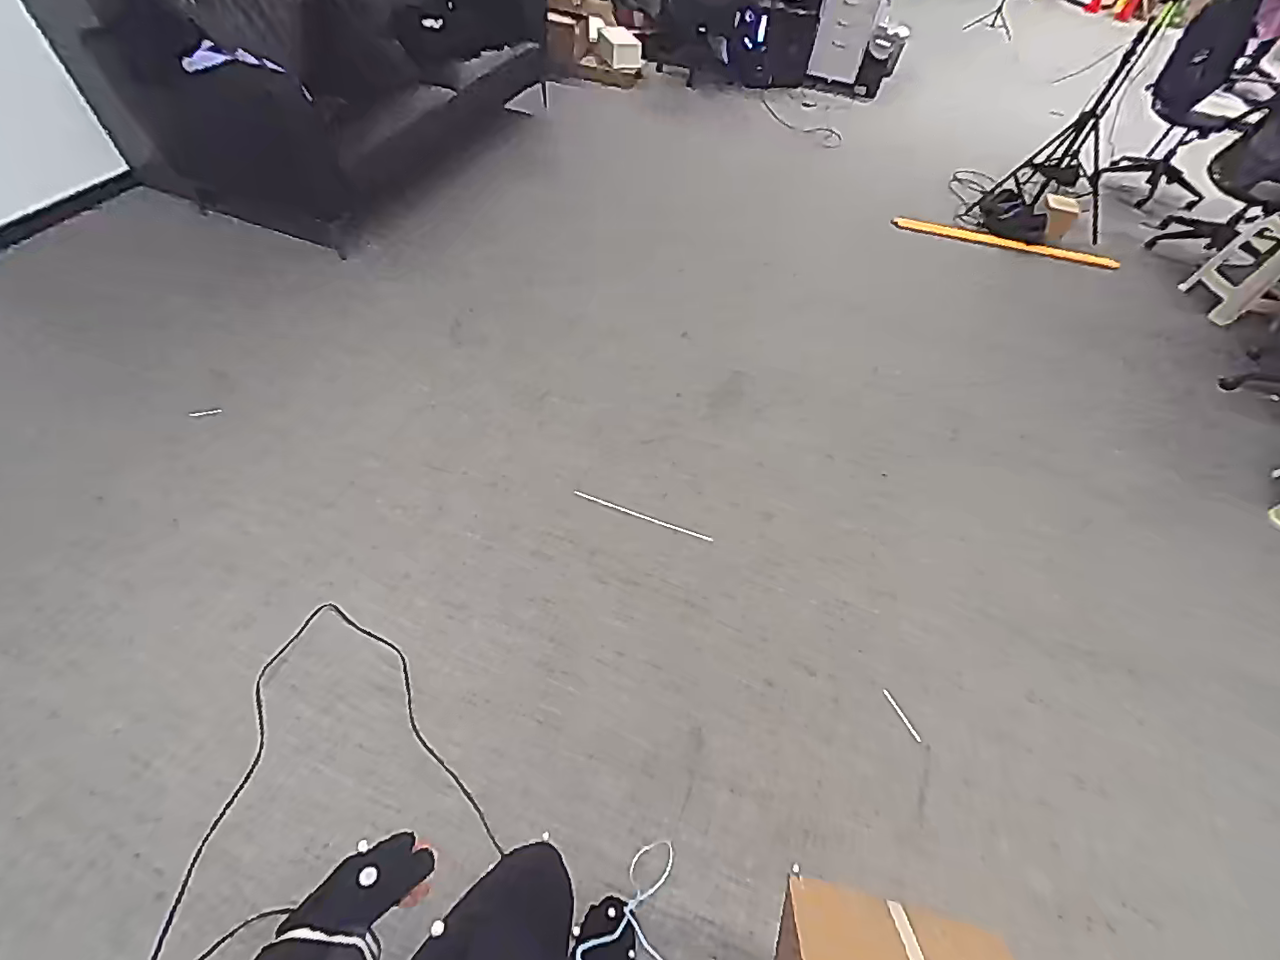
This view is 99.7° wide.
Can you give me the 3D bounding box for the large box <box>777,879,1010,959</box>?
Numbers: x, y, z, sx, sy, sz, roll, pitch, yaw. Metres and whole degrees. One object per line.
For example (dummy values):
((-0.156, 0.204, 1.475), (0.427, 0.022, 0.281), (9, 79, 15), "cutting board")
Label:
((0.334, 0.803, 0.644), (0.320, 0.408, 0.320), (10, 91, 9), "large box")
